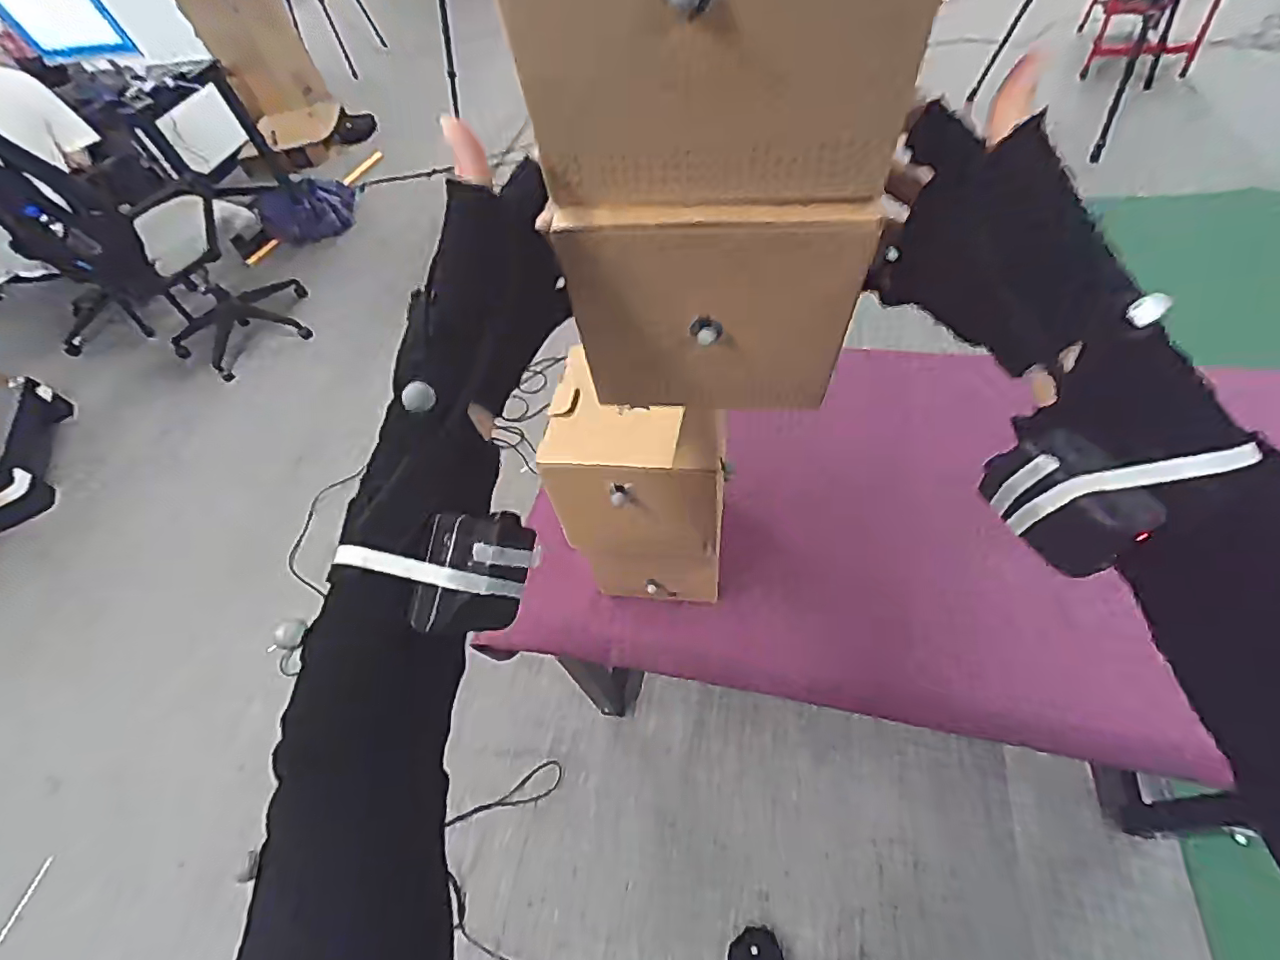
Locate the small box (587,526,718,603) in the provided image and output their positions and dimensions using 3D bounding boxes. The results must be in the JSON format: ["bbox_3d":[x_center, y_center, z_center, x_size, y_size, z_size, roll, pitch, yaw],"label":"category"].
[{"bbox_3d":[0.023,0.050,0.750,0.168,0.176,0.179,3,55,10],"label":"small box"}]

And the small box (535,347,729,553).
[{"bbox_3d":[0.006,-0.029,0.608,0.179,0.176,0.168,3,56,11],"label":"small box"}]

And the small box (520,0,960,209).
[{"bbox_3d":[0.048,-0.250,0.251,0.179,0.176,0.168,4,64,10],"label":"small box"}]
